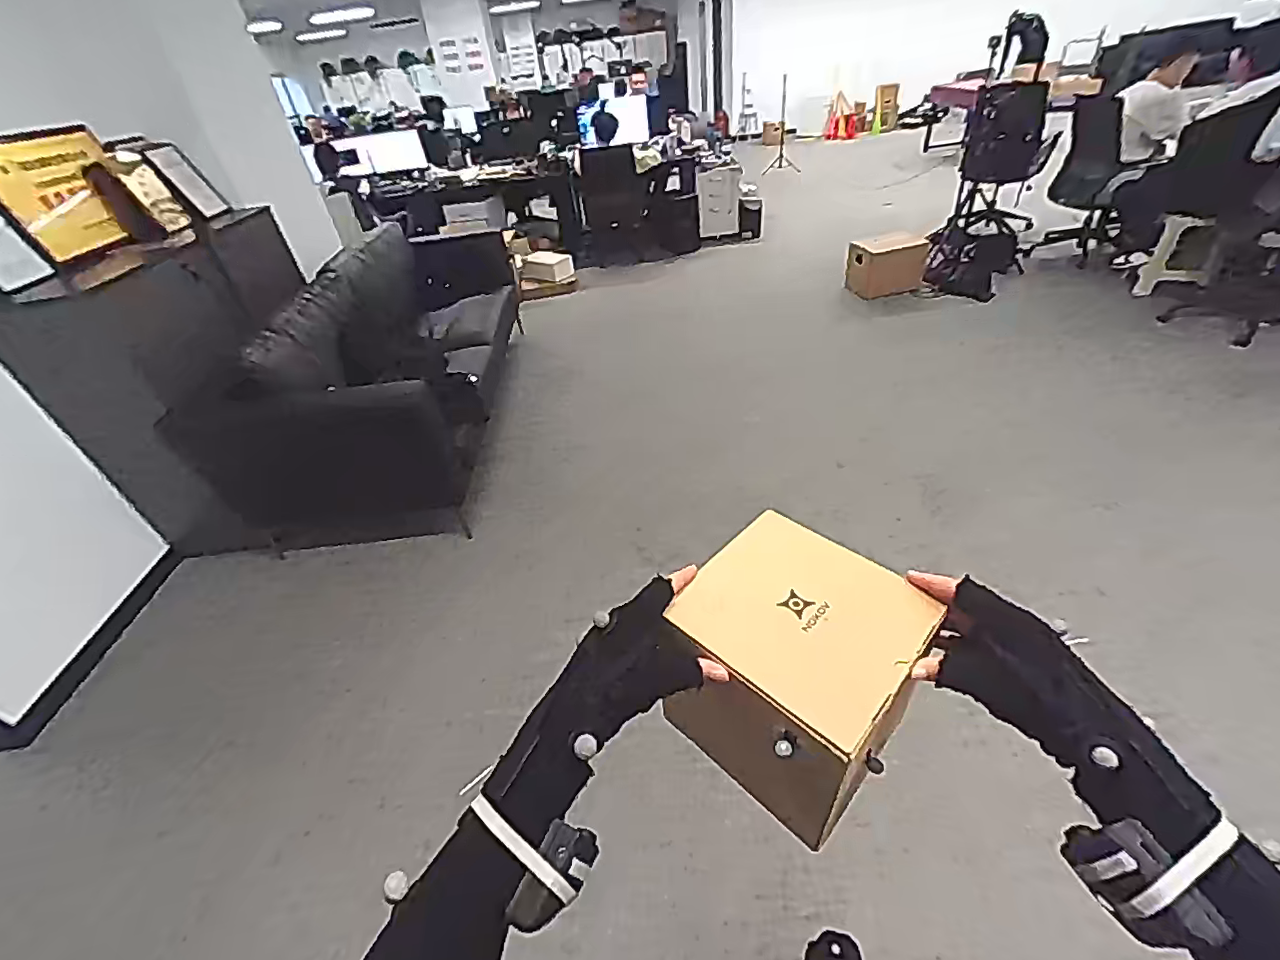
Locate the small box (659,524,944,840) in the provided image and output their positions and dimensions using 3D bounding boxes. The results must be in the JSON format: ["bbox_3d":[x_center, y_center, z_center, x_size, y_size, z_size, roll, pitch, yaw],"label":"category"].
[{"bbox_3d":[0.135,0.177,0.495,0.168,0.176,0.179,-33,47,-32],"label":"small box"}]
